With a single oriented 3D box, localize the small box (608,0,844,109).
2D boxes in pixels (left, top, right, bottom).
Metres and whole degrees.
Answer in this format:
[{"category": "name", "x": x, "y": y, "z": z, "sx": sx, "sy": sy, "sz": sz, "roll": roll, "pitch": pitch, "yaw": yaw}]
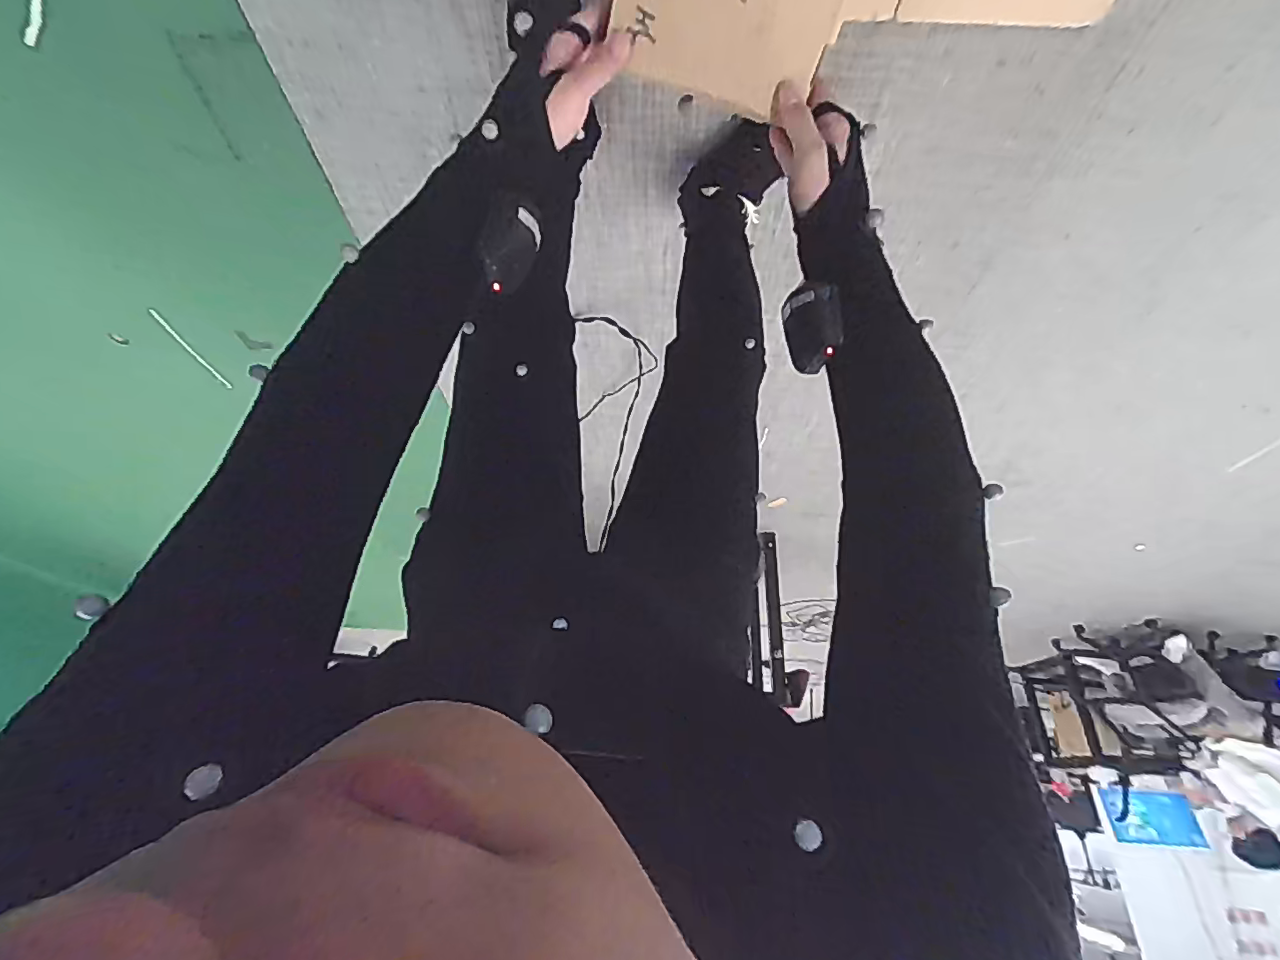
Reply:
[{"category": "small box", "x": 0.076, "y": -0.449, "z": 0.465, "sx": 0.179, "sy": 0.176, "sz": 0.168, "roll": 11, "pitch": 126, "yaw": -12}]
